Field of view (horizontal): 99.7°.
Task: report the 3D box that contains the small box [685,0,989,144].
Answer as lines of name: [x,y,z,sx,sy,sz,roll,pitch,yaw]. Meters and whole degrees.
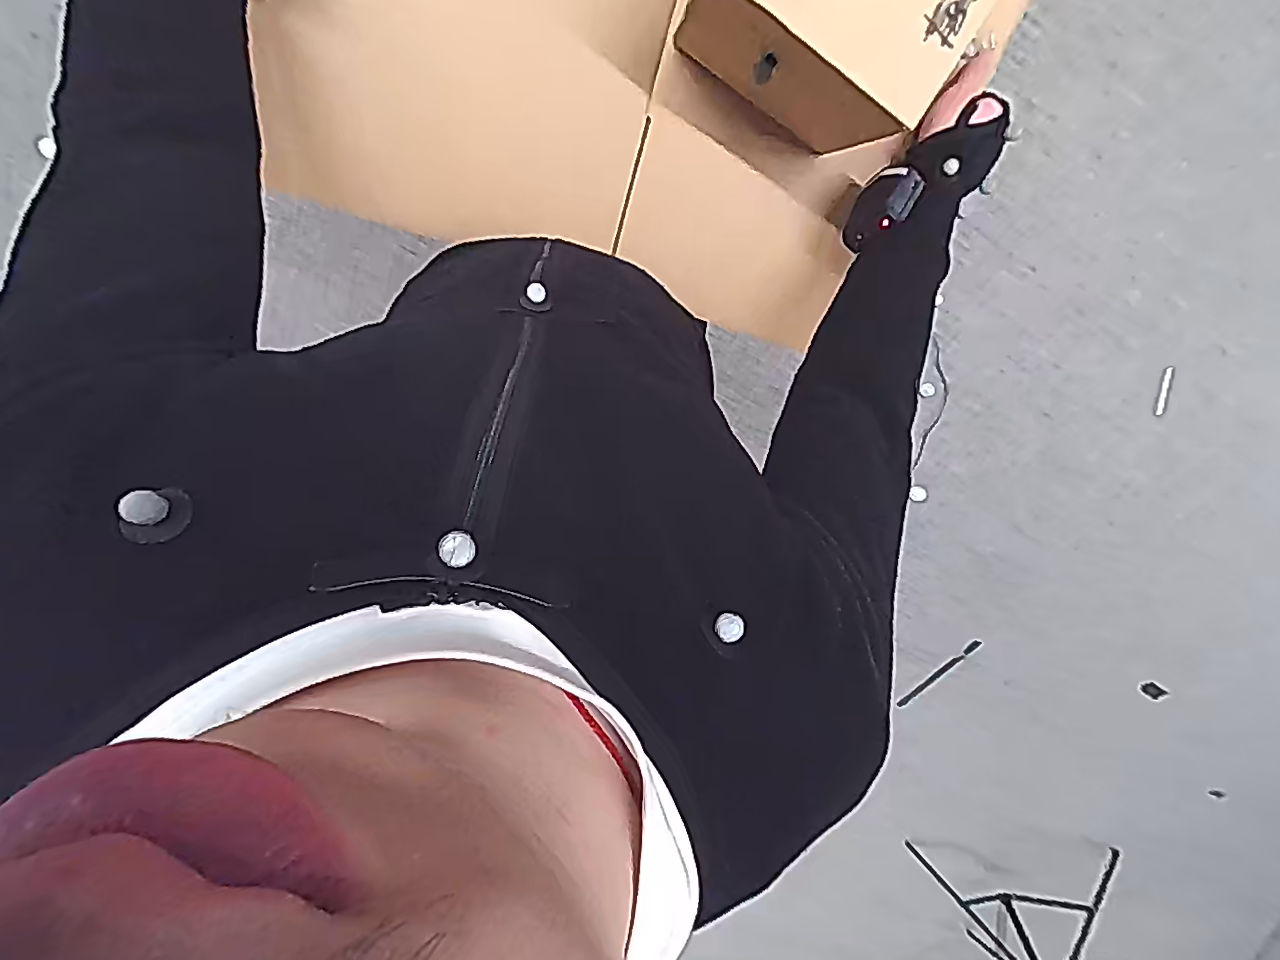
small box: [0.150,-0.384,0.405,0.179,0.176,0.168,26,111,-14]
